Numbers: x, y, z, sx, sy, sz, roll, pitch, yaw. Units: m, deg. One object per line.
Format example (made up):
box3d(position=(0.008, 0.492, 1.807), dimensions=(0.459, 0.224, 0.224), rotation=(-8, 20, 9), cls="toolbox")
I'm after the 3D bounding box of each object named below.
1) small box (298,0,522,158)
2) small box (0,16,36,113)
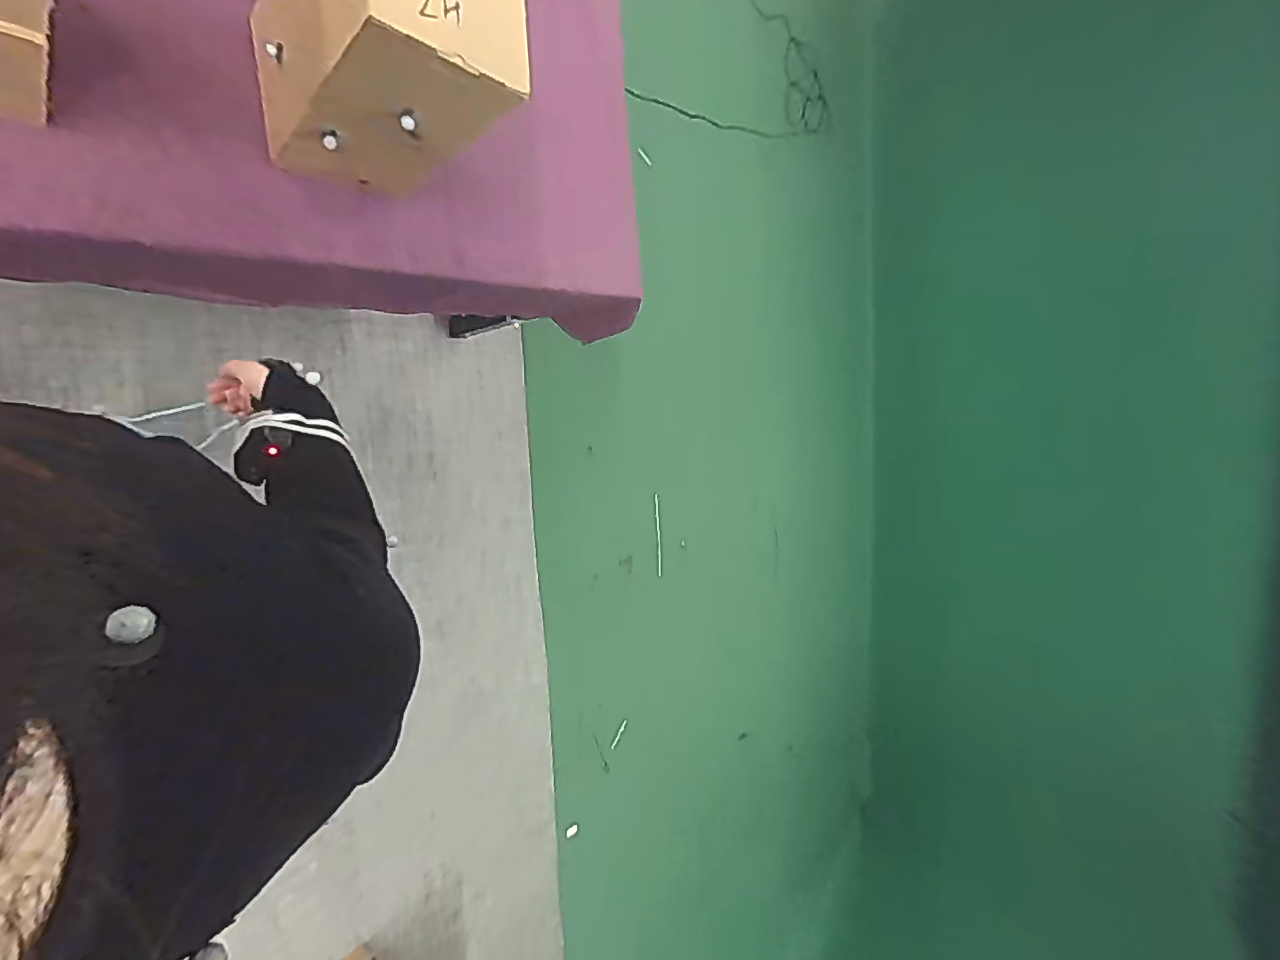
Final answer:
box3d(position=(-0.243, -0.481, 0.565), dimensions=(0.168, 0.176, 0.179), rotation=(-7, 97, -47), cls="small box")
box3d(position=(-0.599, -0.427, 0.416), dimensions=(0.168, 0.176, 0.179), rotation=(-11, 101, -48), cls="small box")
